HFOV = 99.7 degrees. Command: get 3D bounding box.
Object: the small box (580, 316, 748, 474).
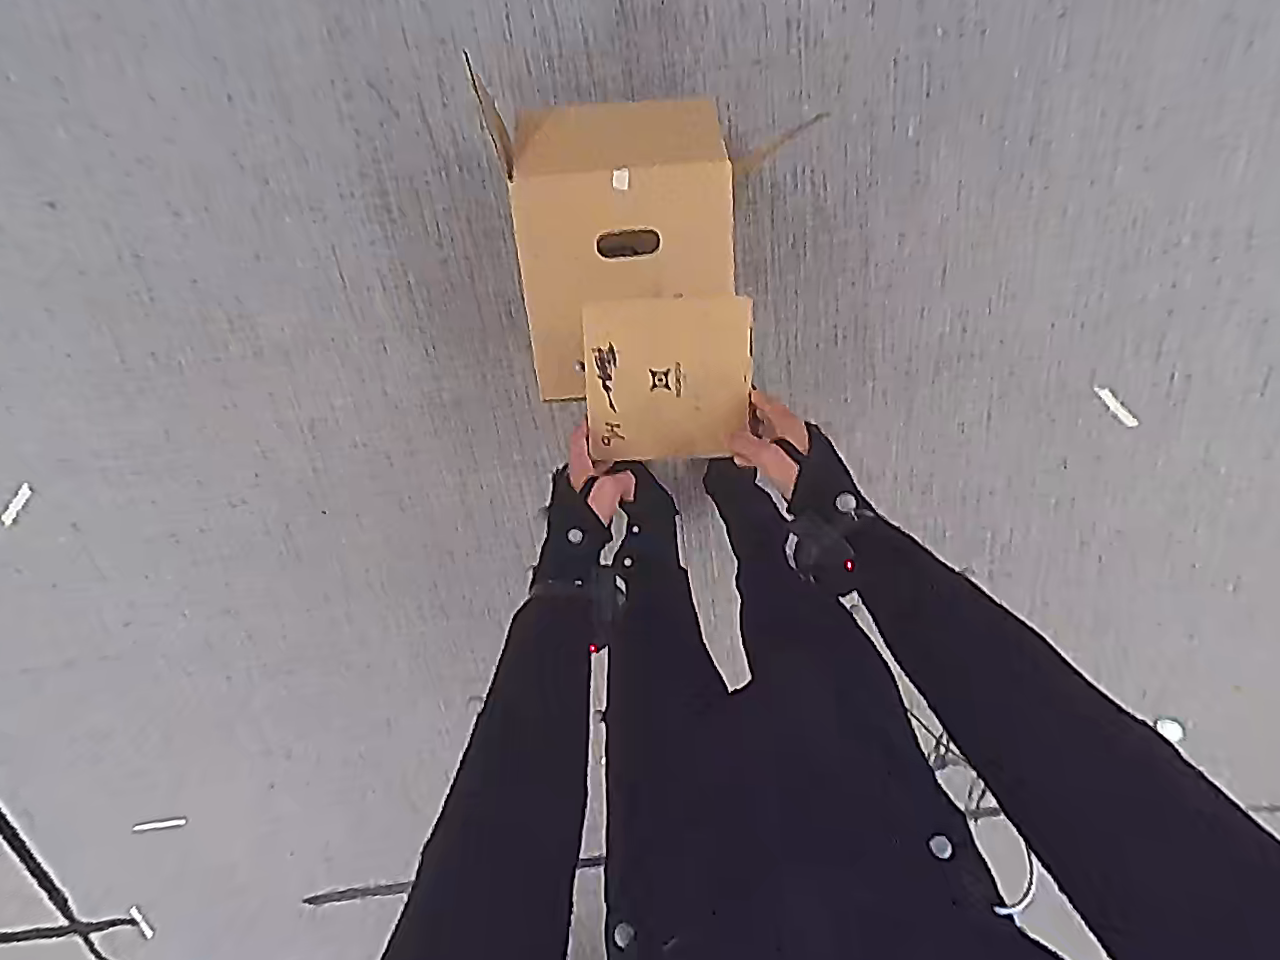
[{"bbox_3d":[0.025,-0.105,0.650,0.179,0.176,0.168,-2,101,0],"label":"small box"}]
